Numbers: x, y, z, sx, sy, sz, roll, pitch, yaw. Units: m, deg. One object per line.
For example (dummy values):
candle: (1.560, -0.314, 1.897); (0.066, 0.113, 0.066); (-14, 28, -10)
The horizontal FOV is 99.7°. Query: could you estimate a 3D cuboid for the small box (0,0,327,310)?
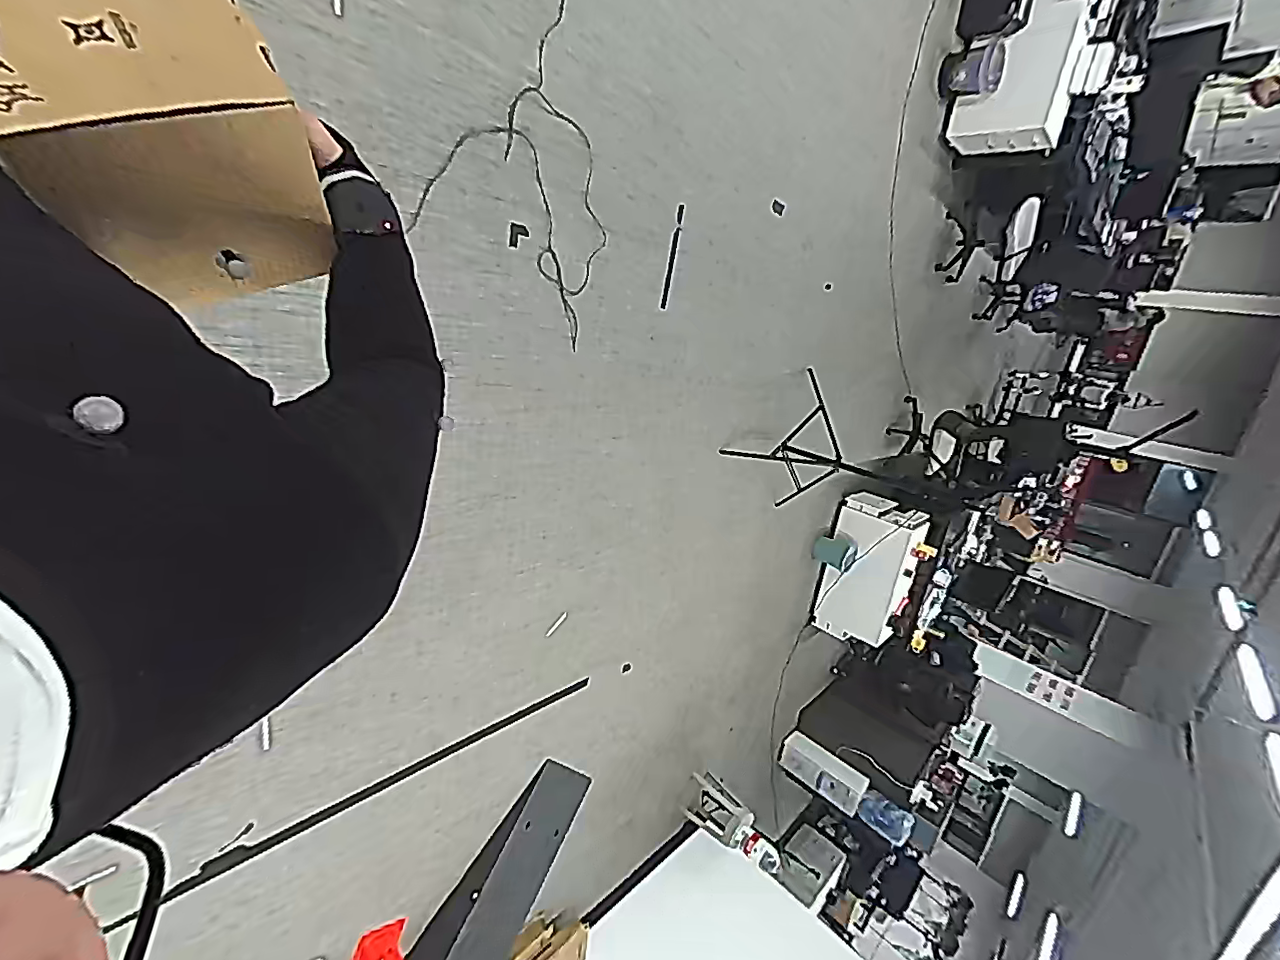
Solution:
small box: (-0.390, -0.276, 0.454); (0.179, 0.168, 0.176); (-28, 167, -25)
